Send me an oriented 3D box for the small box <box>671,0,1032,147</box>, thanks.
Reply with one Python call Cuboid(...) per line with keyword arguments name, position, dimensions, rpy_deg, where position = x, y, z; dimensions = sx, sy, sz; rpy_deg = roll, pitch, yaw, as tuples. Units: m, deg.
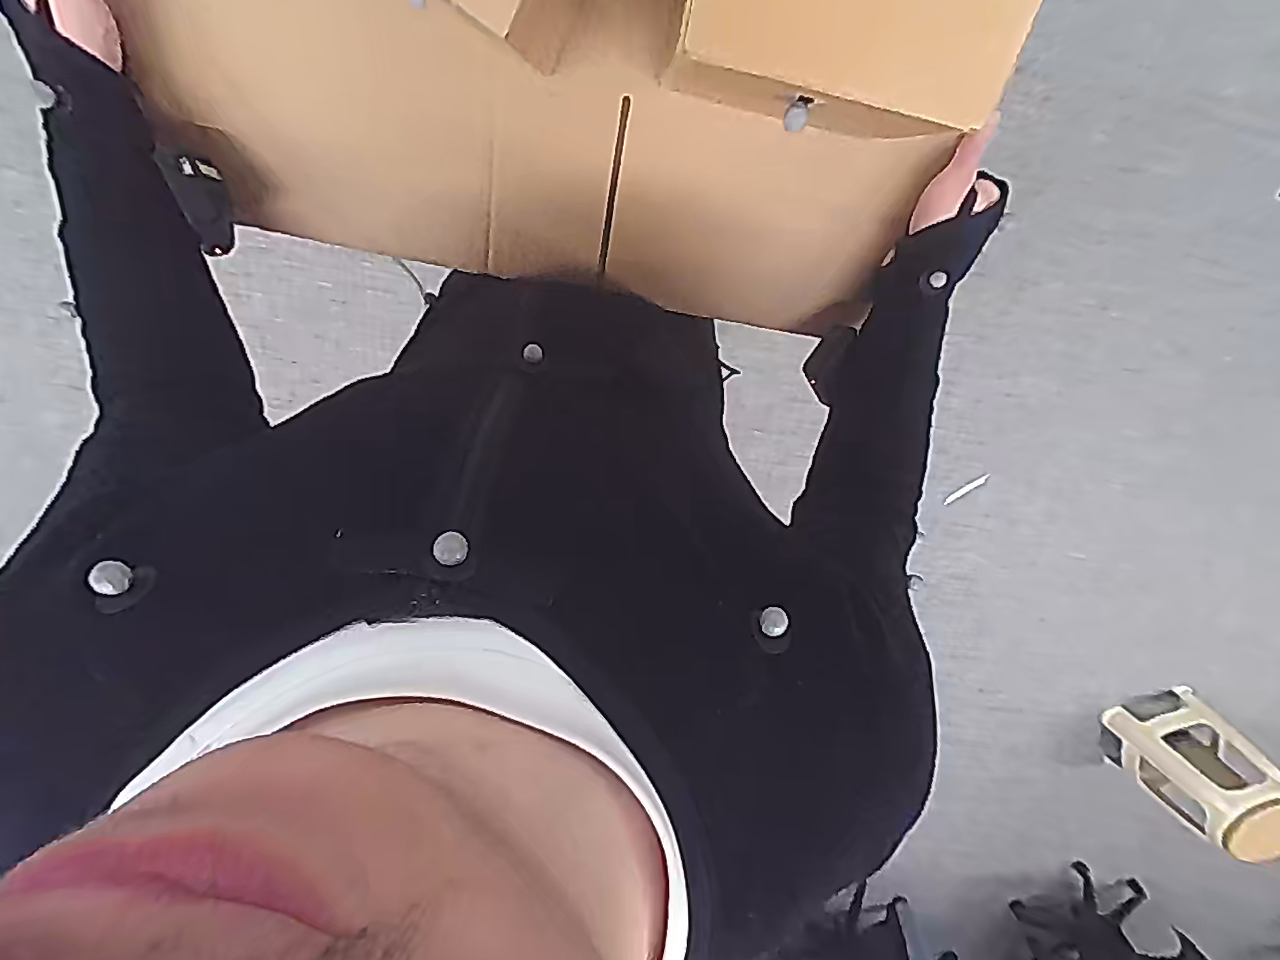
Cuboid(name="small box", position=(0.125, -0.322, 0.335), dimensions=(0.179, 0.176, 0.168), rpy_deg=(10, 120, -7))
